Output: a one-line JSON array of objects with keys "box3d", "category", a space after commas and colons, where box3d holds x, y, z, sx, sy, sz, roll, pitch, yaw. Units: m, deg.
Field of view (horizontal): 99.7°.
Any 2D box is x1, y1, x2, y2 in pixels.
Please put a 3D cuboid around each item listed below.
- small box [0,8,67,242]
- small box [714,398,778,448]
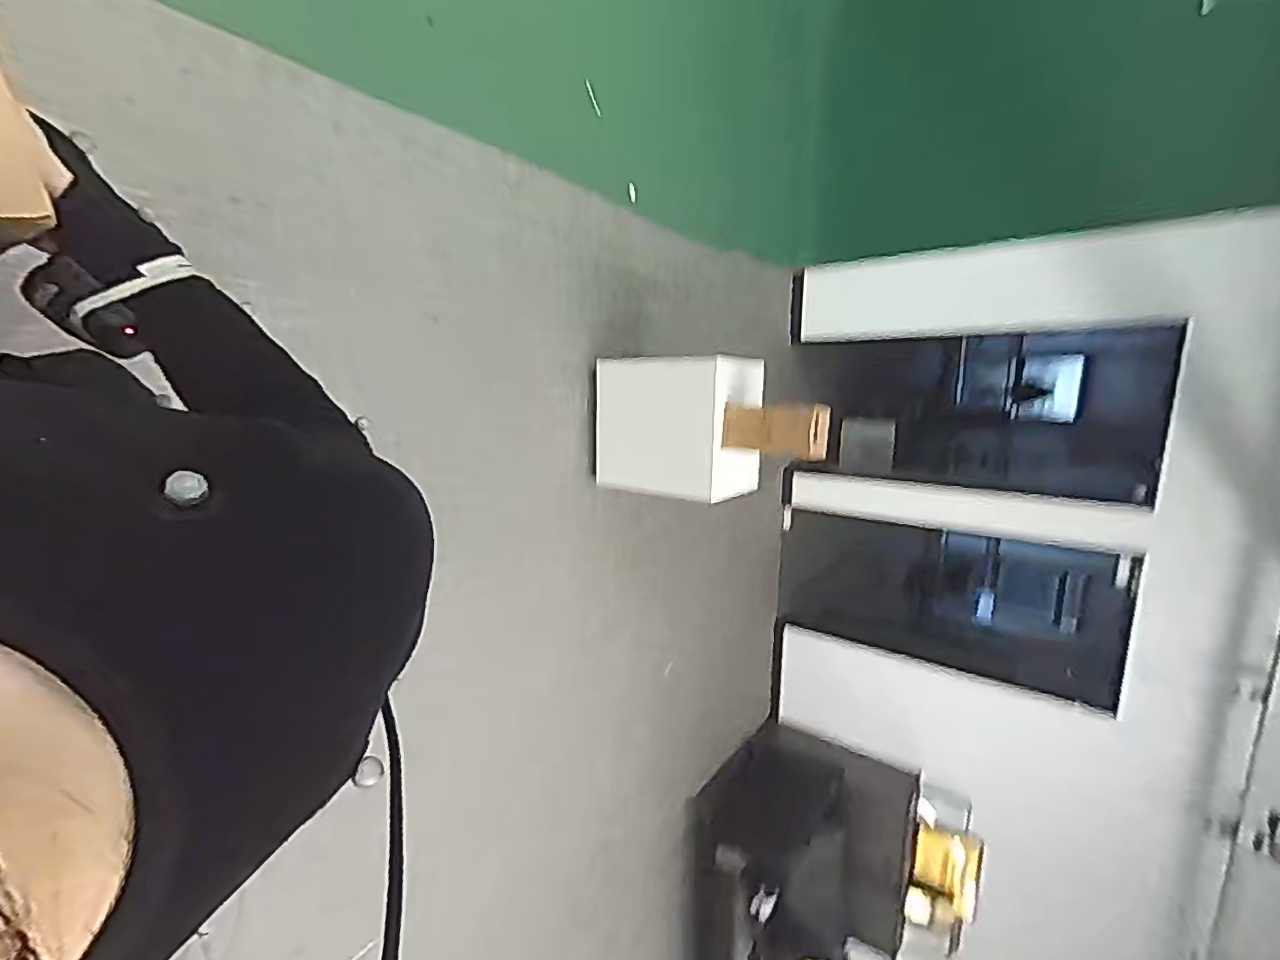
[{"box3d": [-0.461, -0.227, 0.276, 0.168, 0.176, 0.179, -30, 120, -54], "category": "small box"}, {"box3d": [0.389, -0.208, 1.985, 0.179, 0.176, 0.168, -3, 99, -55], "category": "small box"}]
